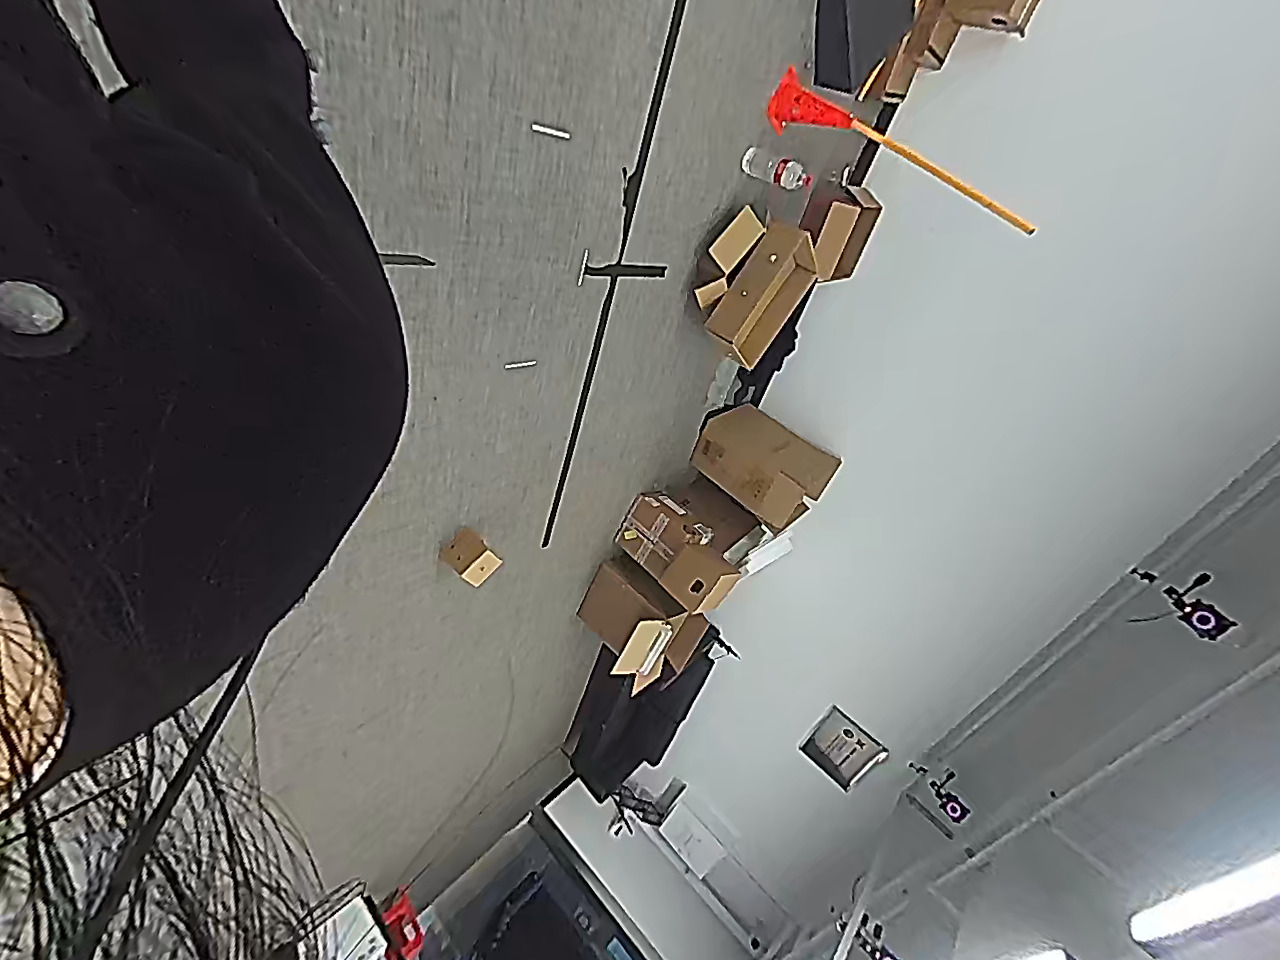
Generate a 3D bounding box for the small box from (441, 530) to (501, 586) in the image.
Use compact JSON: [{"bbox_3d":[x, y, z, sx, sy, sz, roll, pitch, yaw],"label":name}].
[{"bbox_3d":[-0.781,0.356,2.488,0.168,0.176,0.179,-45,155,-13],"label":"small box"}]
